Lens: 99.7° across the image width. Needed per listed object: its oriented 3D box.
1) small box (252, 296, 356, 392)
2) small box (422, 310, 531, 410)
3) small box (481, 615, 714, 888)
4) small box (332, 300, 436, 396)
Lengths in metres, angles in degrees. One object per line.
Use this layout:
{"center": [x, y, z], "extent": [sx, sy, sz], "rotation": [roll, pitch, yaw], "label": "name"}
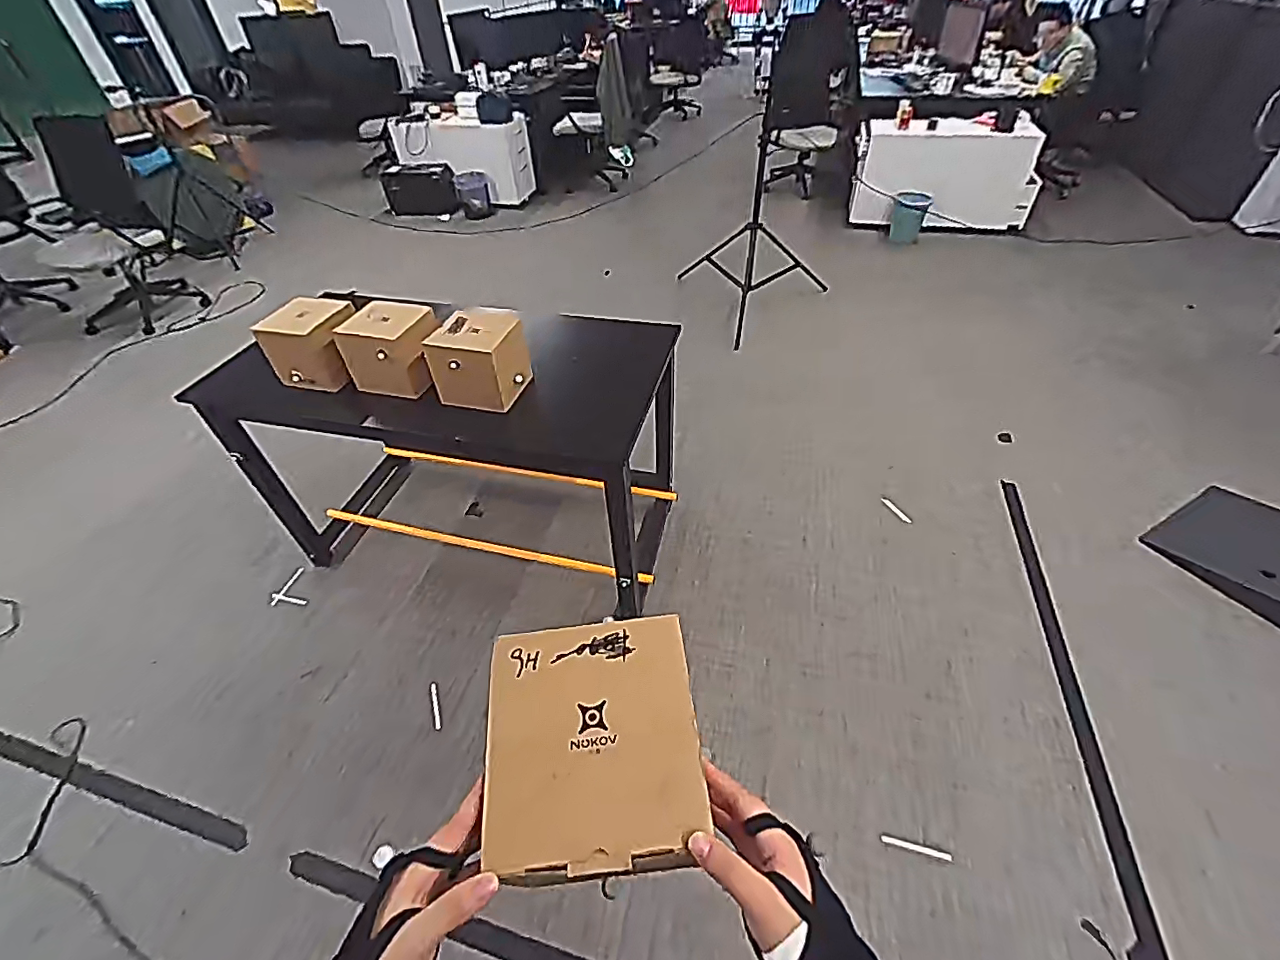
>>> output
{"center": [-0.829, -0.350, 1.389], "extent": [0.168, 0.176, 0.179], "rotation": [8, 46, 13], "label": "small box"}
{"center": [-0.382, -0.286, 1.297], "extent": [0.179, 0.176, 0.168], "rotation": [10, 46, 12], "label": "small box"}
{"center": [-0.032, 0.243, 0.480], "extent": [0.168, 0.176, 0.179], "rotation": [-7, 53, -2], "label": "small box"}
{"center": [-0.613, -0.328, 1.351], "extent": [0.179, 0.176, 0.168], "rotation": [10, 45, 13], "label": "small box"}
